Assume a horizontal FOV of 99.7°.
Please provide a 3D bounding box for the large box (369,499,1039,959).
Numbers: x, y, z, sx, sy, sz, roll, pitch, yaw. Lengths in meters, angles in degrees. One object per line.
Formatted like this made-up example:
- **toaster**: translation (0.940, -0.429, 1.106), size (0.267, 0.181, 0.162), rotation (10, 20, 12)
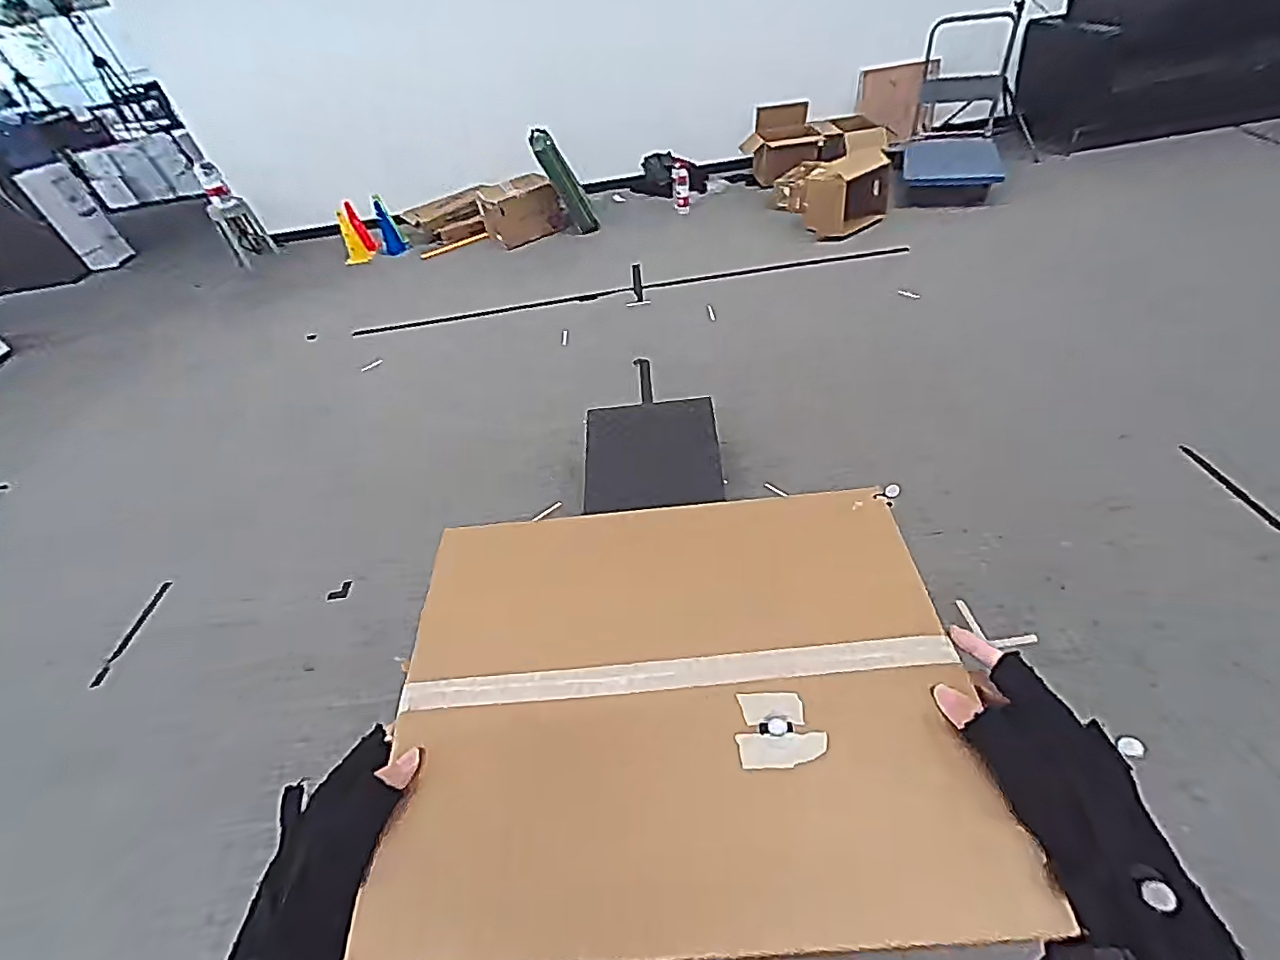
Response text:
- **large box**: translation (0.038, 0.251, 0.522), size (0.408, 0.320, 0.320), rotation (-6, 49, 2)
